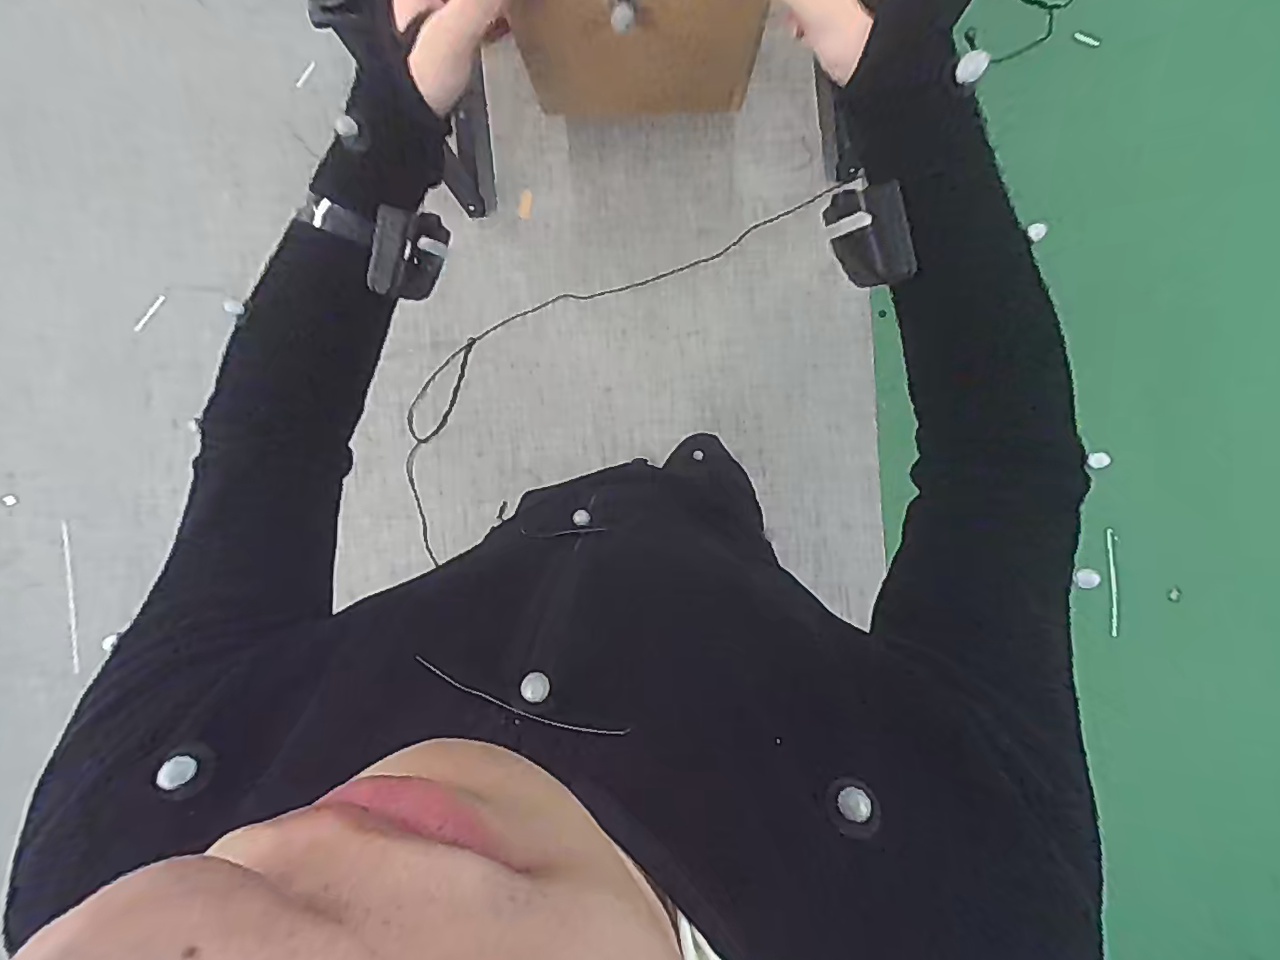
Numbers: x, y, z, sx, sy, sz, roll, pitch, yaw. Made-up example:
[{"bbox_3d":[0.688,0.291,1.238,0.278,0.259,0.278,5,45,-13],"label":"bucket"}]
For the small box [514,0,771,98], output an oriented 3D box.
[{"bbox_3d":[0.006,-0.396,0.370,0.179,0.176,0.168,1,96,3],"label":"small box"}]
